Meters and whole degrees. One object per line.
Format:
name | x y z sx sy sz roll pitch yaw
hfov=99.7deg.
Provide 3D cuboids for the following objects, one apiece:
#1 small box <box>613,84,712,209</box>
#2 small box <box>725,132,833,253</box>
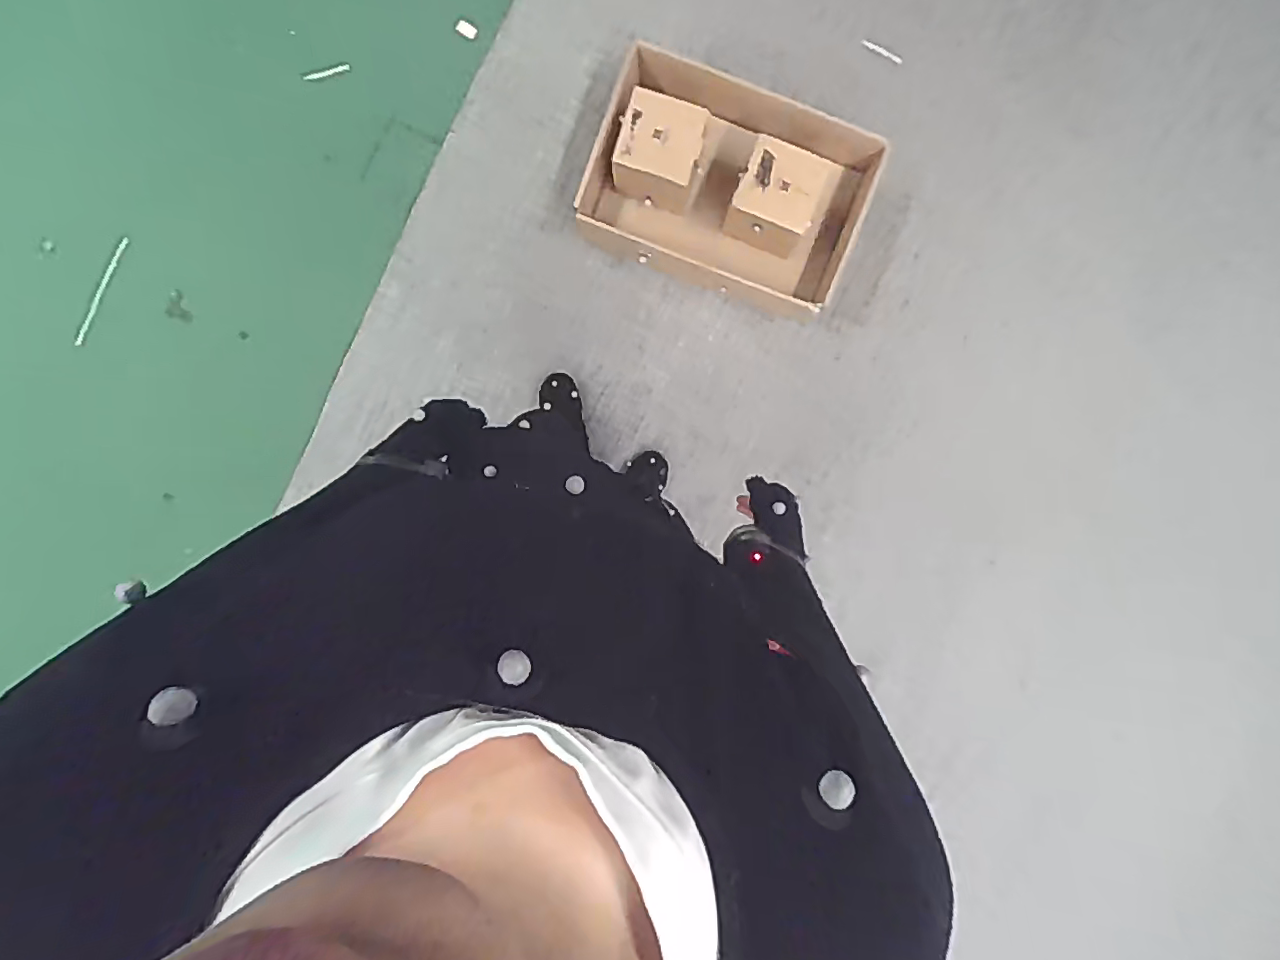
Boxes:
small box | 0.048 -0.758 1.252 0.179 0.176 0.168 19 95 -2
small box | 0.311 -0.656 1.256 0.179 0.176 0.168 23 96 -1
